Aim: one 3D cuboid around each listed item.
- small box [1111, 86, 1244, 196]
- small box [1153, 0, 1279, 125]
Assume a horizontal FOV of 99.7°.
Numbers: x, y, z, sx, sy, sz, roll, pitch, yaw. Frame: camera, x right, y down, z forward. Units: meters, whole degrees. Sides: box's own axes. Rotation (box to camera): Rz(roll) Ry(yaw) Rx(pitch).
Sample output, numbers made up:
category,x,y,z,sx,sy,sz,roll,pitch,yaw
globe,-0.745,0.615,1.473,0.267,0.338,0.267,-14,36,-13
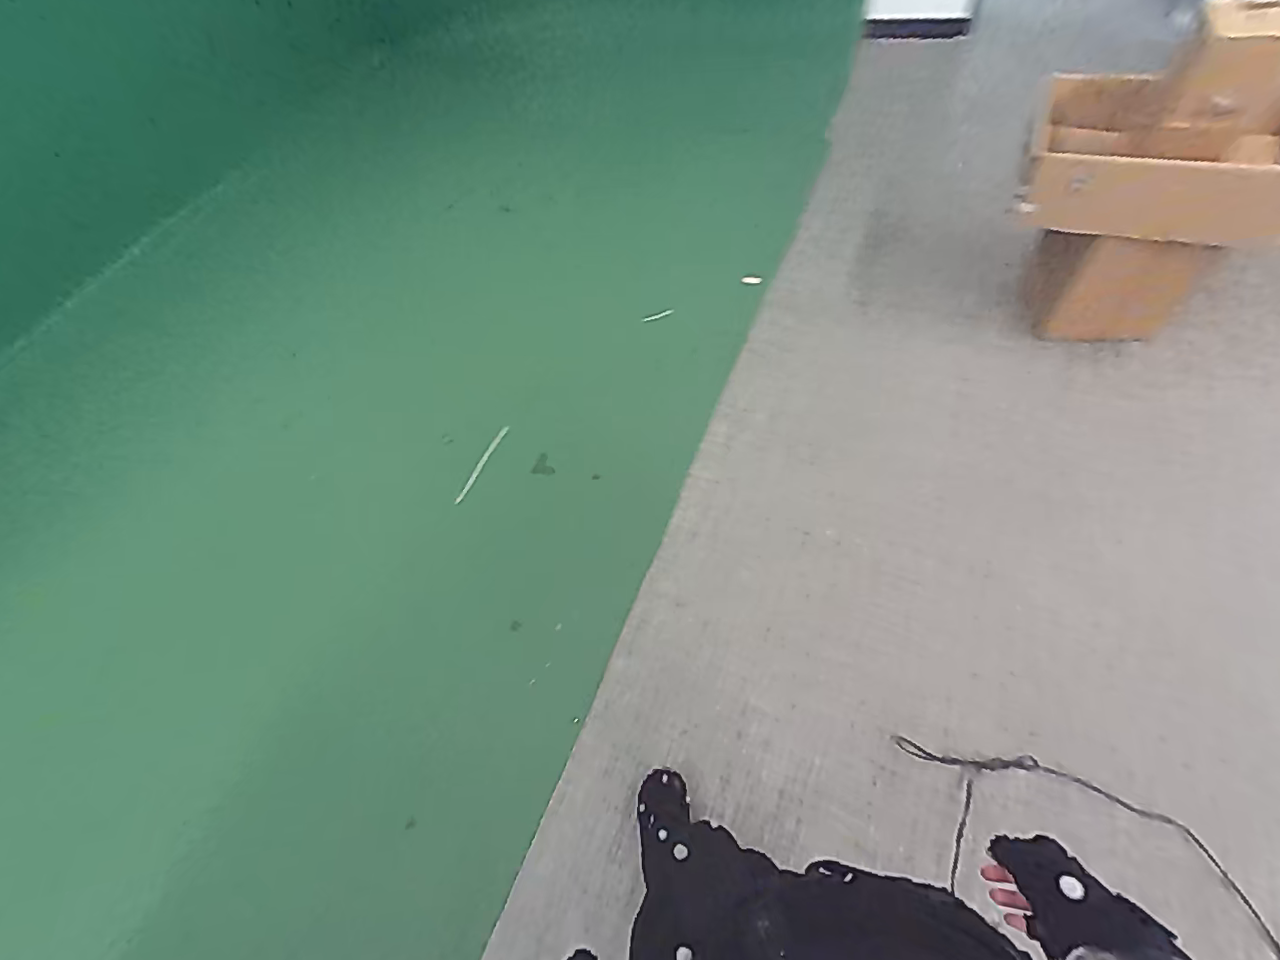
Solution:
category,x,y,z,sx,sy,sz,roll,pitch,yaw
small box,1.297,-0.828,1.322,0.168,0.176,0.179,11,62,17
small box,1.274,-0.914,1.184,0.168,0.176,0.179,13,63,19
